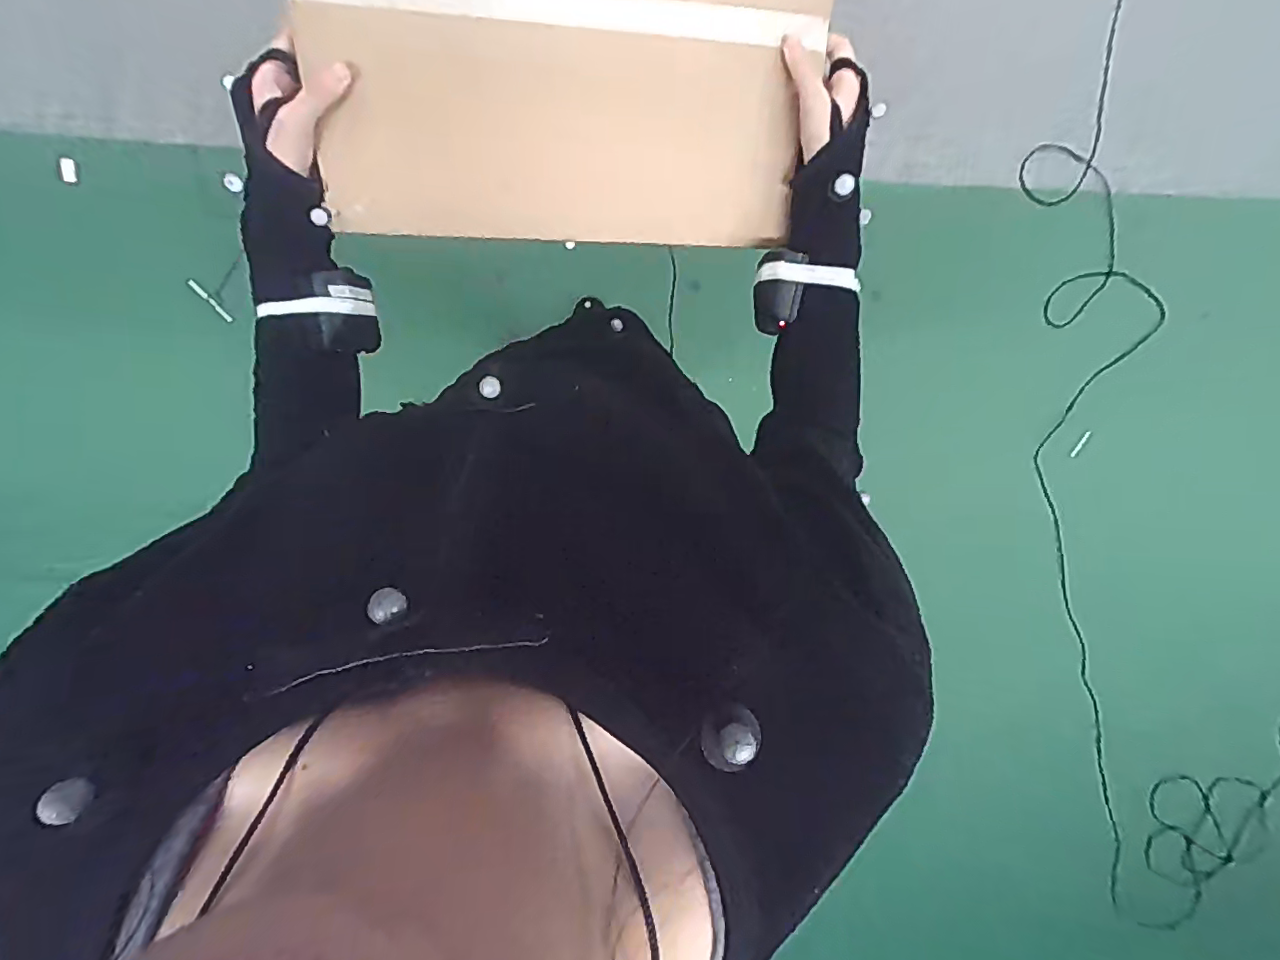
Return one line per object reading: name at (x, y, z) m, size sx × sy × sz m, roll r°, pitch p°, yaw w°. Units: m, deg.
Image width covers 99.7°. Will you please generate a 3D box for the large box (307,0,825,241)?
large box at (-0.068, -0.428, 0.550) m, size 0.408 × 0.320 × 0.320 m, roll -2°, pitch 117°, yaw -9°
